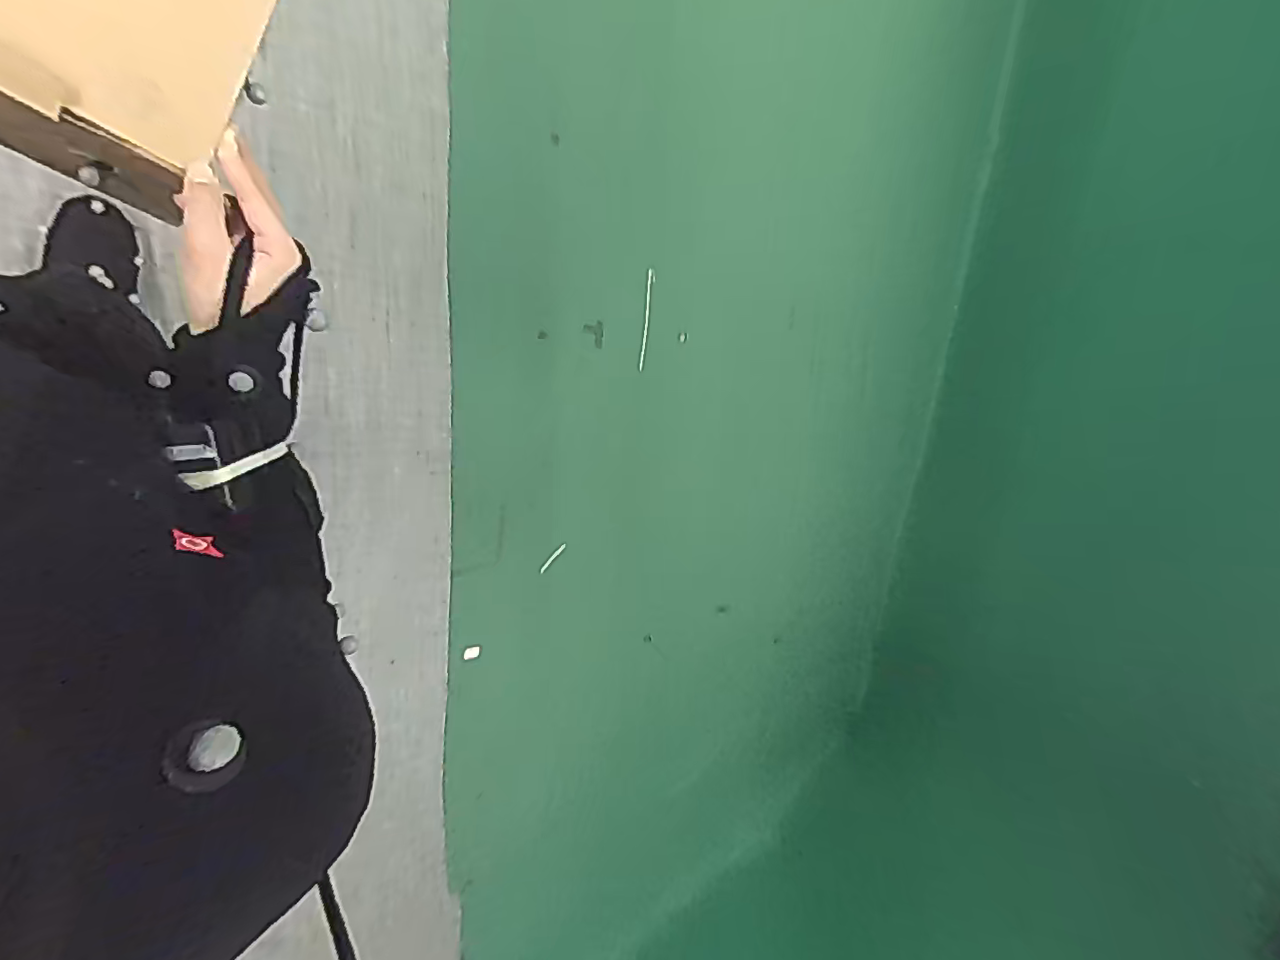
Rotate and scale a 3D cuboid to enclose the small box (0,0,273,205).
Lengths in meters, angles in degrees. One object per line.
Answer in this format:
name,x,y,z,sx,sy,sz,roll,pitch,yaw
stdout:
small box,-0.338,-0.296,0.320,0.168,0.176,0.179,22,84,-47
